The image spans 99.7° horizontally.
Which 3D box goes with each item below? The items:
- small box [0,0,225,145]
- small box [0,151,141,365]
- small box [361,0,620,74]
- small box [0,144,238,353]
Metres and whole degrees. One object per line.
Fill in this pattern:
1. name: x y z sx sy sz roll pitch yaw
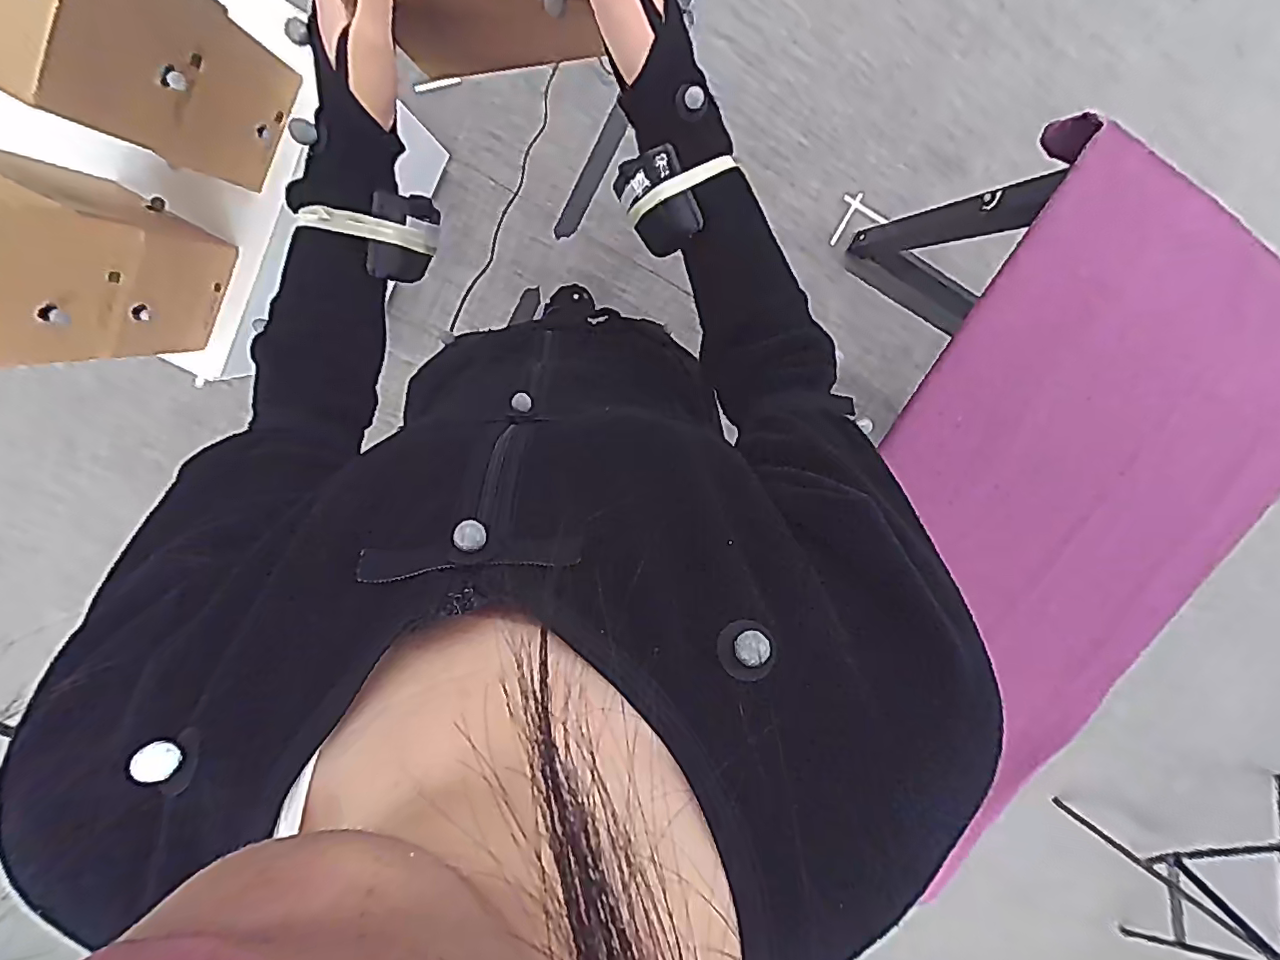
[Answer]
1. small box: -0.527 -0.435 0.473 0.179 0.176 0.168 29 103 -13
2. small box: -0.656 -0.230 0.528 0.179 0.176 0.168 27 103 -11
3. small box: -0.107 -0.414 0.371 0.179 0.176 0.168 -7 108 2
4. small box: -0.670 -0.277 0.683 0.179 0.176 0.168 28 104 -11
